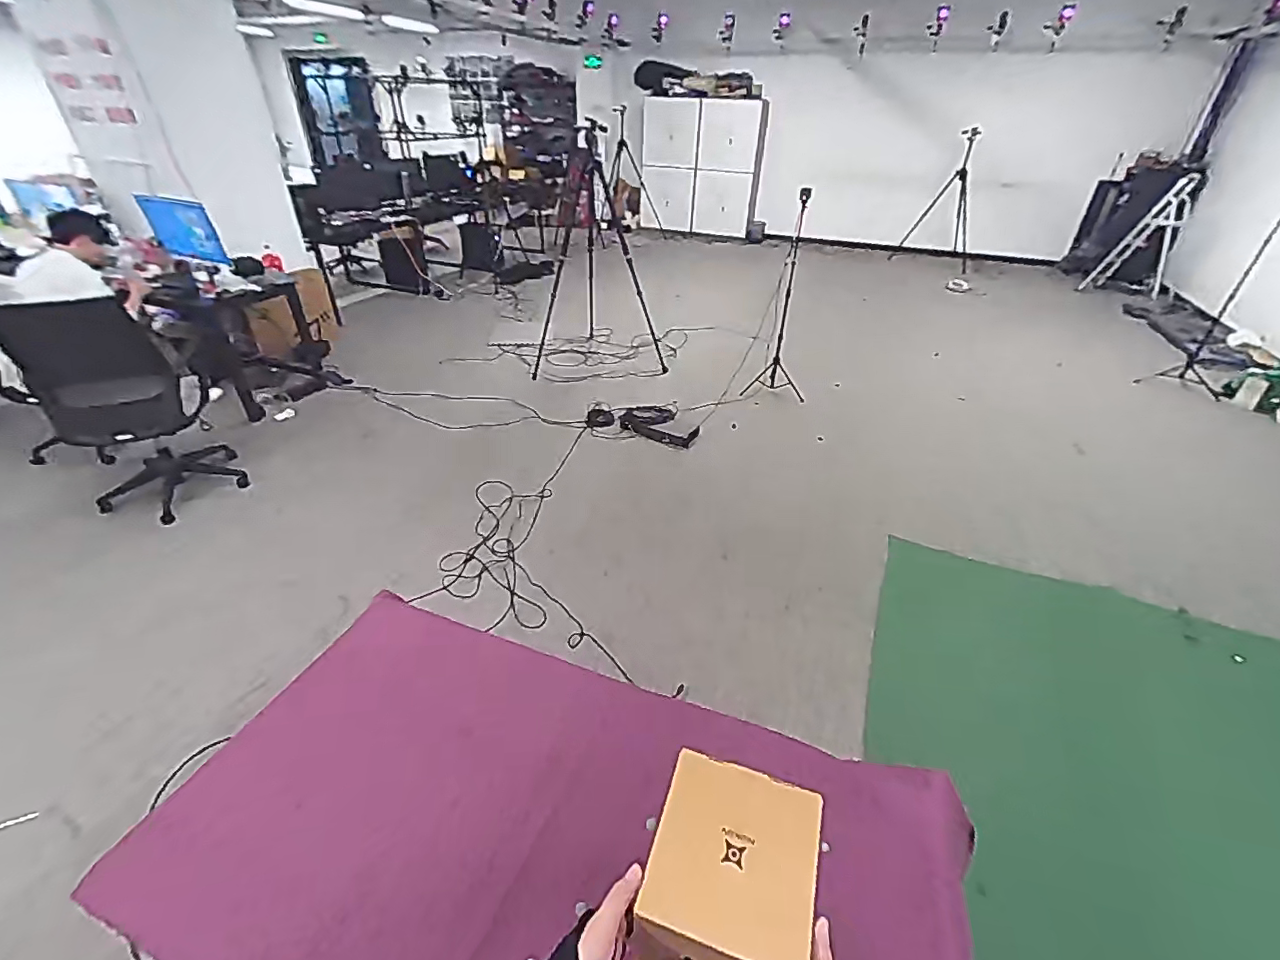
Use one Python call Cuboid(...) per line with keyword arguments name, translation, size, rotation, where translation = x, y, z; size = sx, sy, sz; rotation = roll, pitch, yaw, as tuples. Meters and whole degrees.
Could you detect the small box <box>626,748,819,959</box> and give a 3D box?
Cuboid(name="small box", translation=(0.092, 0.444, 0.598), size=(0.168, 0.176, 0.179), rotation=(12, 36, 16))
